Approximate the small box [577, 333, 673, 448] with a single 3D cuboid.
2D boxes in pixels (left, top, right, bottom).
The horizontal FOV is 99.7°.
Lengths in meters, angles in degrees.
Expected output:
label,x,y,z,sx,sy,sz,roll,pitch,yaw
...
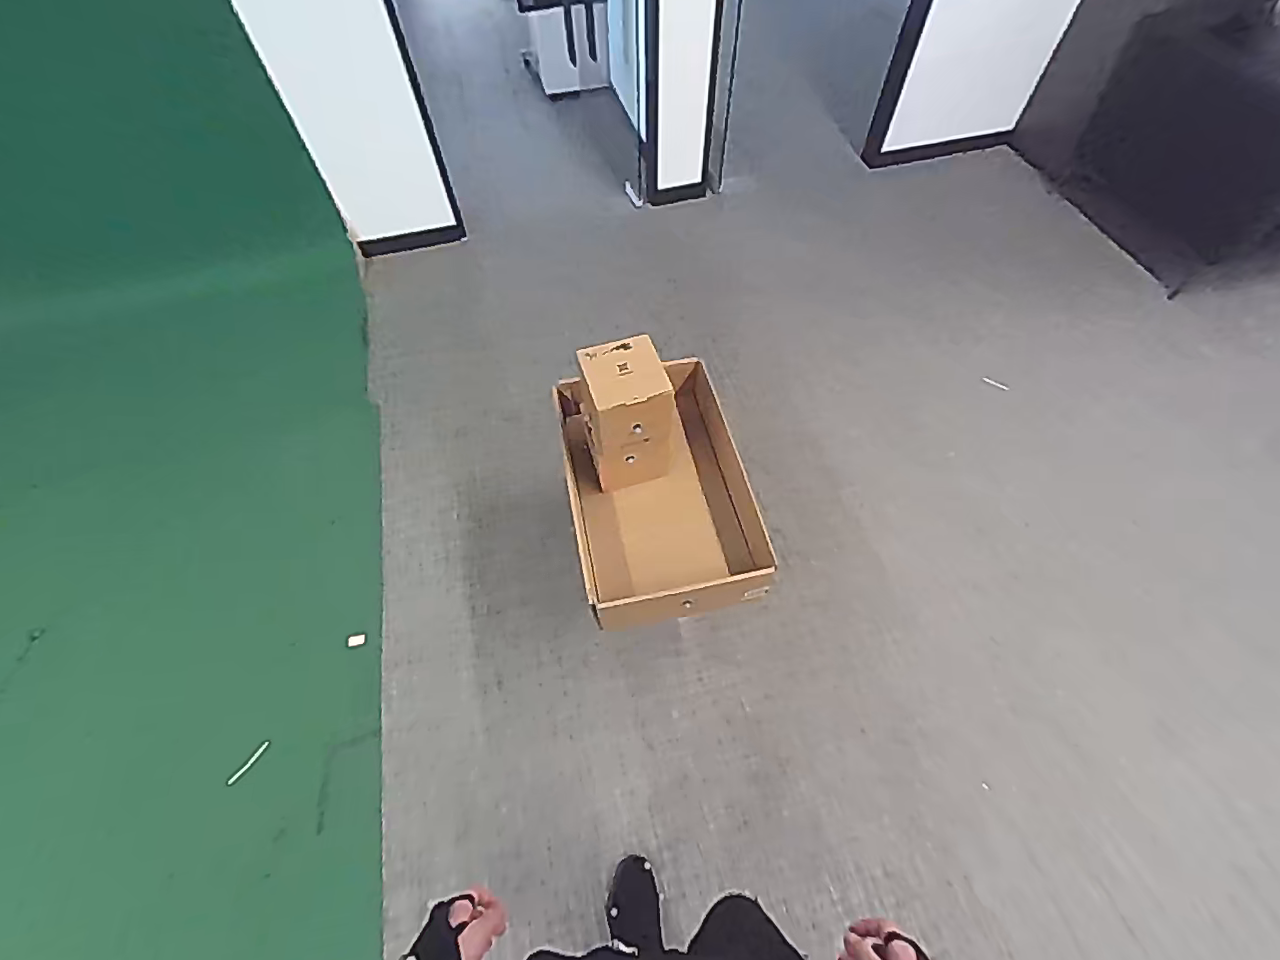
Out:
label,x,y,z,sx,sy,sz,roll,pitch,yaw
small box,-0.031,-0.188,1.190,0.168,0.176,0.179,-16,61,-8
